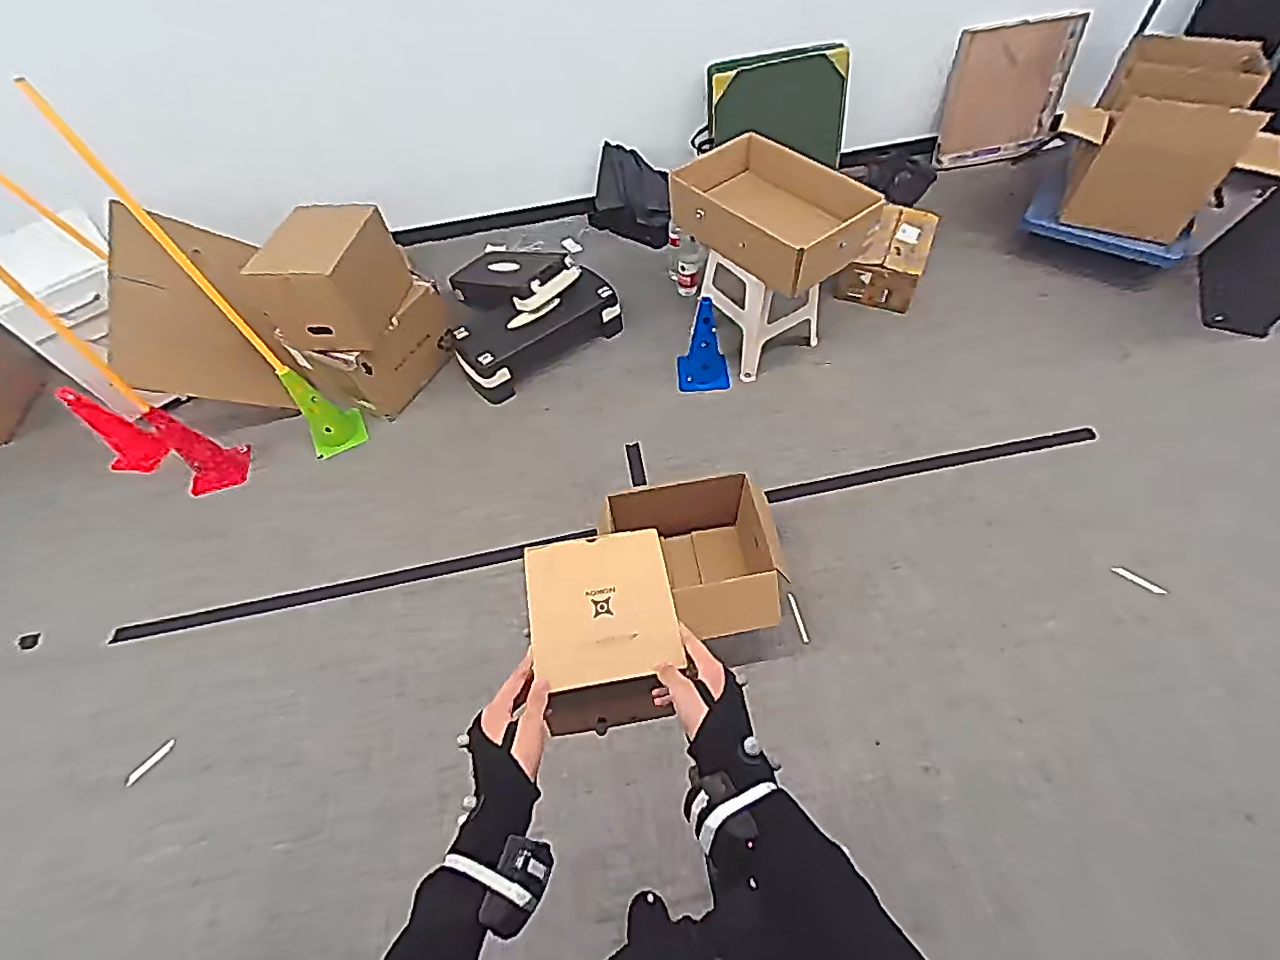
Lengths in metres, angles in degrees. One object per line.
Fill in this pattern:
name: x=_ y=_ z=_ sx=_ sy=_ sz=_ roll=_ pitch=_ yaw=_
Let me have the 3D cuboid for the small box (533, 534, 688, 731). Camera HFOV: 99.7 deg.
small box: x=-0.044 y=0.195 z=0.691 sx=0.168 sy=0.176 sz=0.179 roll=-7 pitch=50 yaw=-8
